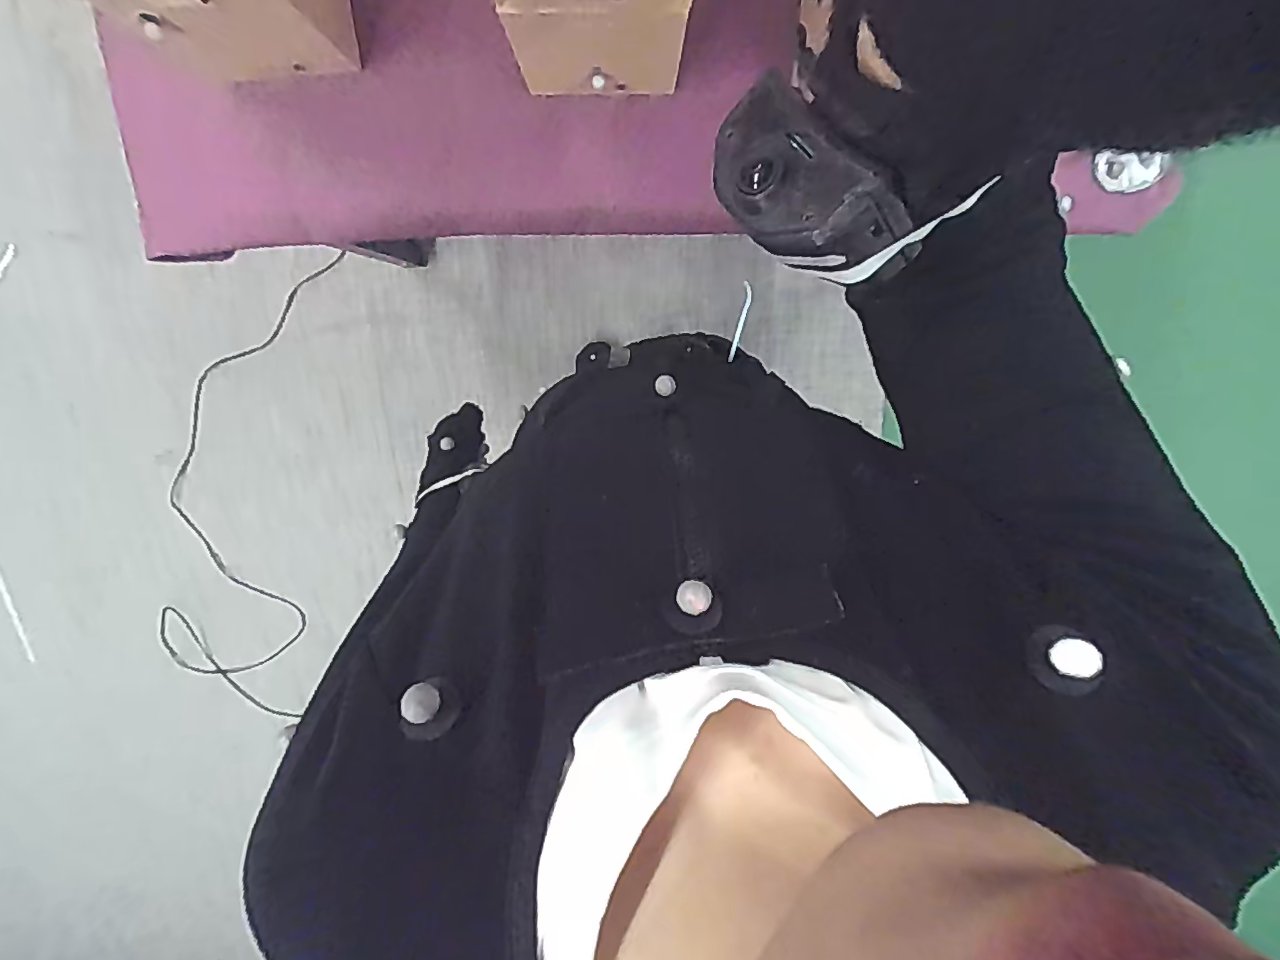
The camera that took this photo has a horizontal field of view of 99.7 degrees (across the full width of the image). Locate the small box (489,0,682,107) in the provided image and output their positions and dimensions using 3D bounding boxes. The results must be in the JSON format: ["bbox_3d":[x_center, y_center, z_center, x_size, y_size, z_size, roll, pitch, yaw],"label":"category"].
[{"bbox_3d":[-0.047,-0.493,0.517,0.168,0.176,0.179,0,105,-1],"label":"small box"}]

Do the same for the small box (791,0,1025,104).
[{"bbox_3d":[0.255,-0.498,0.523,0.168,0.176,0.179,3,104,-2],"label":"small box"}]
